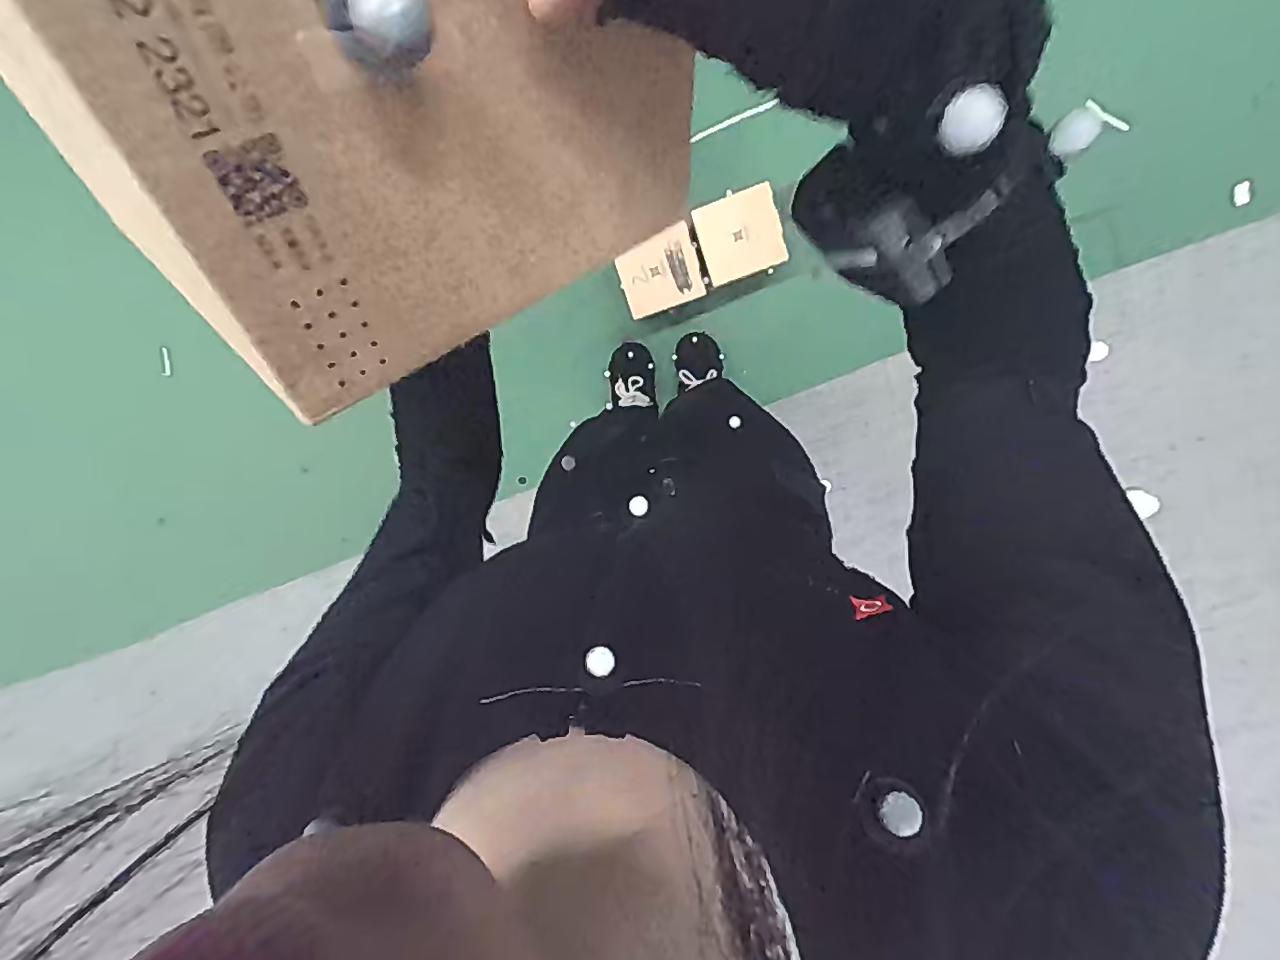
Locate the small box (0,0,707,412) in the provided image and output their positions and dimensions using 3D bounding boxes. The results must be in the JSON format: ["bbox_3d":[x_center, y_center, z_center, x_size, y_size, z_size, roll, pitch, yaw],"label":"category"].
[{"bbox_3d":[-0.097,-0.155,0.162,0.179,0.176,0.168,37,152,24],"label":"small box"}]
